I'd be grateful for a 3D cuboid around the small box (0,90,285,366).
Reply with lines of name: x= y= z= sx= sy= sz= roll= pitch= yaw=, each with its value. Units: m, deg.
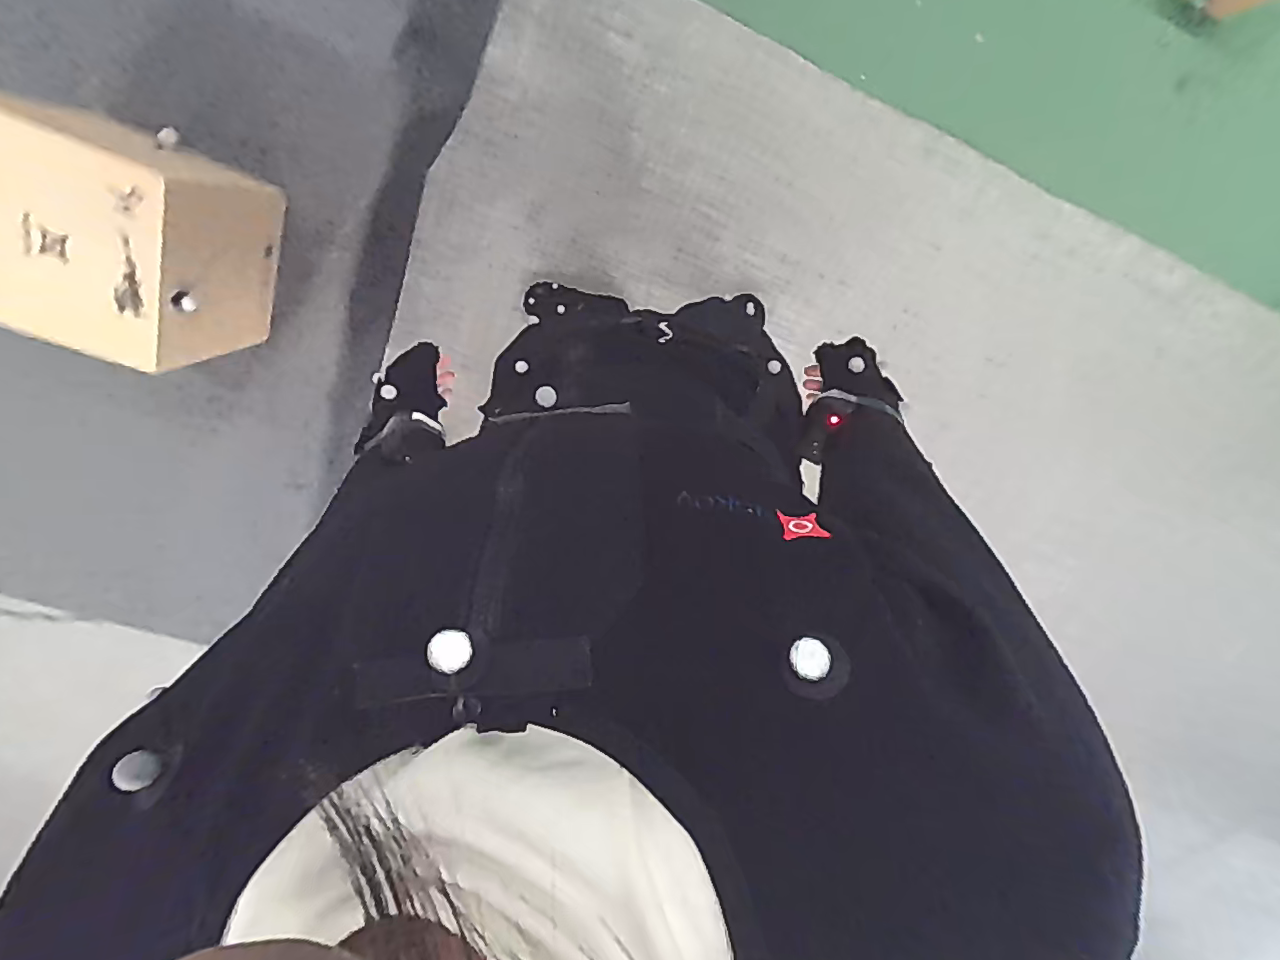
small box: x=-0.472 y=-0.226 z=0.497 sx=0.179 sy=0.176 sz=0.168 roll=20 pitch=113 yaw=-10
